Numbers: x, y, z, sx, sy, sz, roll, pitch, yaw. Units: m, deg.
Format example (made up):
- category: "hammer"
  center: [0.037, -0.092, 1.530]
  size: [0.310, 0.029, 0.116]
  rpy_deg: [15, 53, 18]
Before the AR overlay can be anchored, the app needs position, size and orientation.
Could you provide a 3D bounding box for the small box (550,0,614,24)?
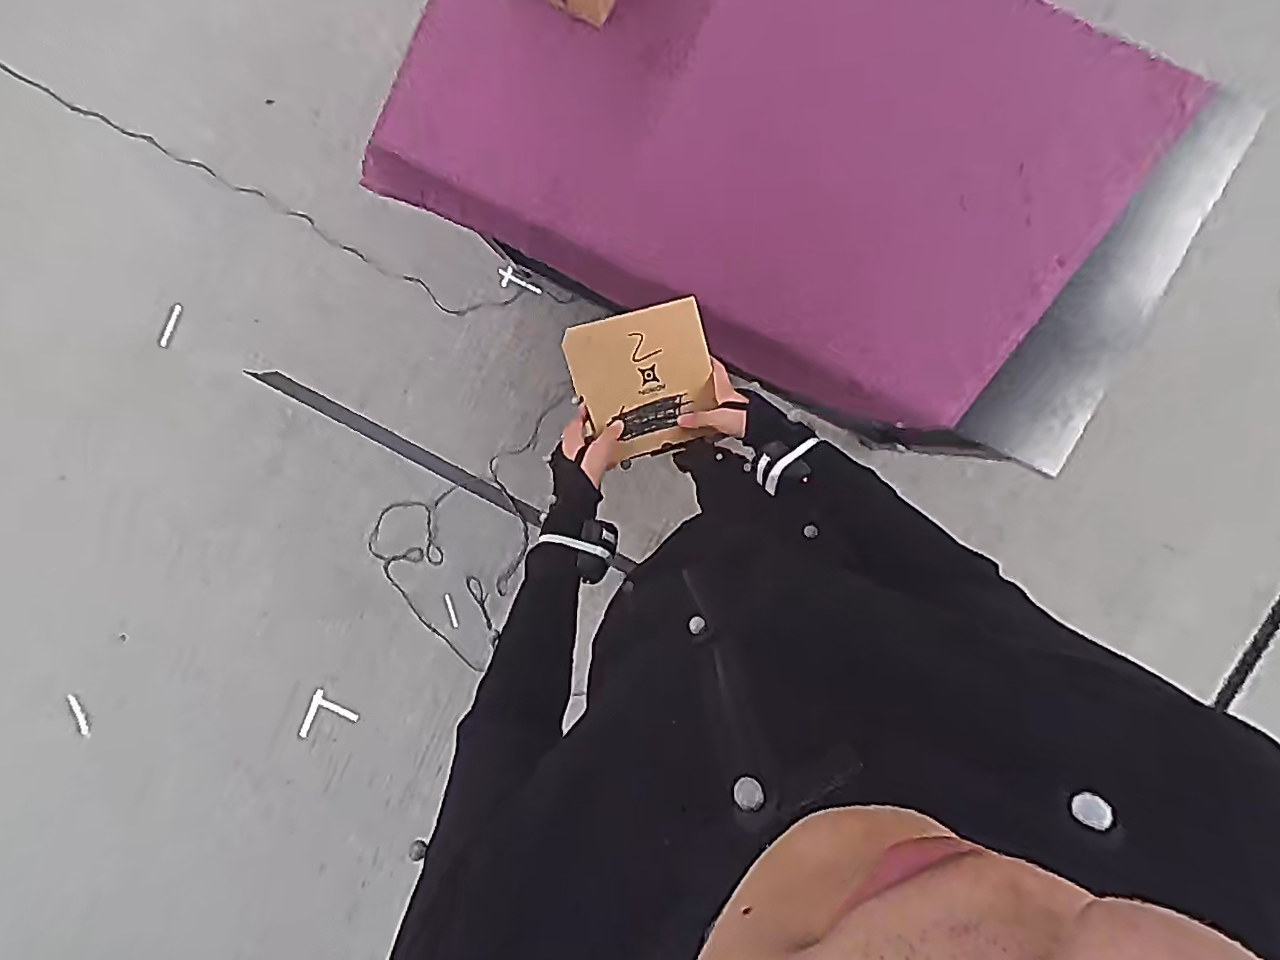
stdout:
- category: "small box"
  center: [-0.092, -0.793, 0.733]
  size: [0.168, 0.176, 0.179]
  rpy_deg: [29, 96, 0]
